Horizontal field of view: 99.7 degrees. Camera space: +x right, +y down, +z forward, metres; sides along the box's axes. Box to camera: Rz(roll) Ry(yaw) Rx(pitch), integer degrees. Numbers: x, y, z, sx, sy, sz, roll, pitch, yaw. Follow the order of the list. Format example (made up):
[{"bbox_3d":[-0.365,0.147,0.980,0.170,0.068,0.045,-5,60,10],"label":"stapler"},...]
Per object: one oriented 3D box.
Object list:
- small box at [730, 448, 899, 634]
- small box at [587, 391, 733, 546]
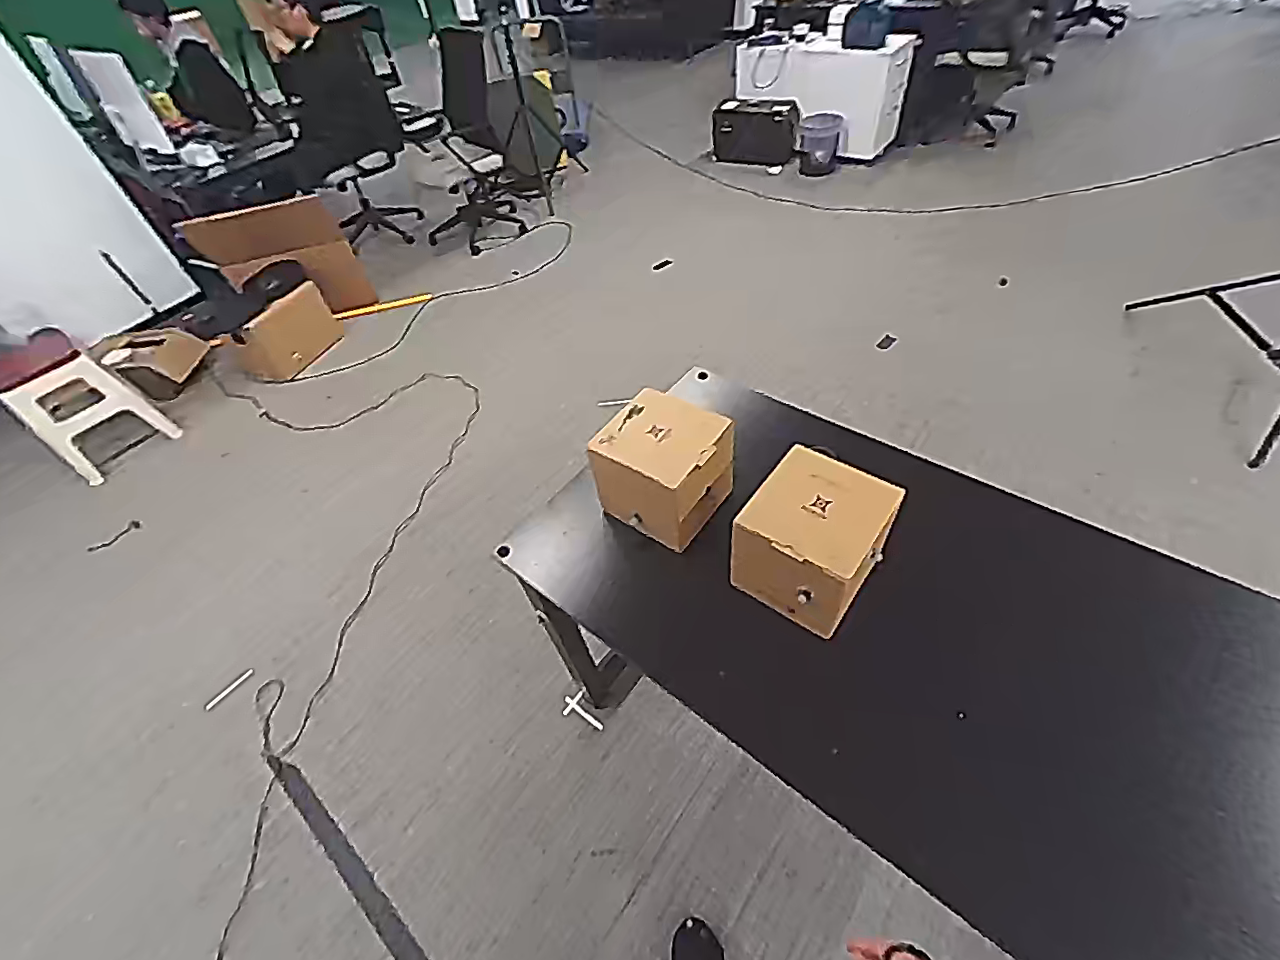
[{"bbox_3d":[0.247,0.092,0.793,0.168,0.176,0.179,28,57,27],"label":"small box"},{"bbox_3d":[0.038,-0.014,0.911,0.179,0.176,0.168,27,57,26],"label":"small box"}]
